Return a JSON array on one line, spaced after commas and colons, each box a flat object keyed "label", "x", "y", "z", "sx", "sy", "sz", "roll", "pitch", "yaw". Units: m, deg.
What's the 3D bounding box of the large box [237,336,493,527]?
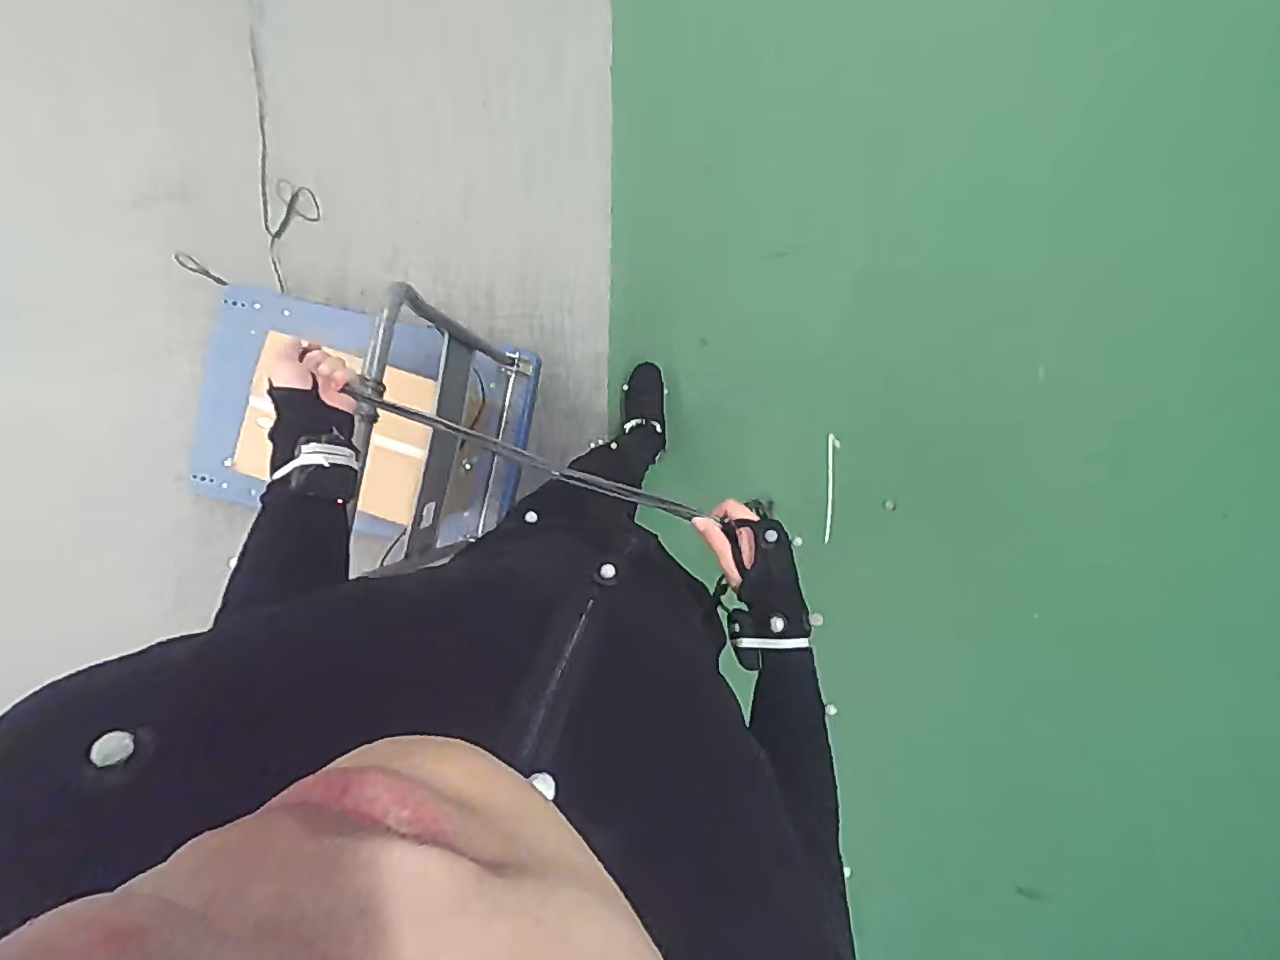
[{"label": "large box", "x": -0.617, "y": -0.109, "z": 1.279, "sx": 0.408, "sy": 0.320, "sz": 0.320, "roll": 18, "pitch": 92, "yaw": 1}]
